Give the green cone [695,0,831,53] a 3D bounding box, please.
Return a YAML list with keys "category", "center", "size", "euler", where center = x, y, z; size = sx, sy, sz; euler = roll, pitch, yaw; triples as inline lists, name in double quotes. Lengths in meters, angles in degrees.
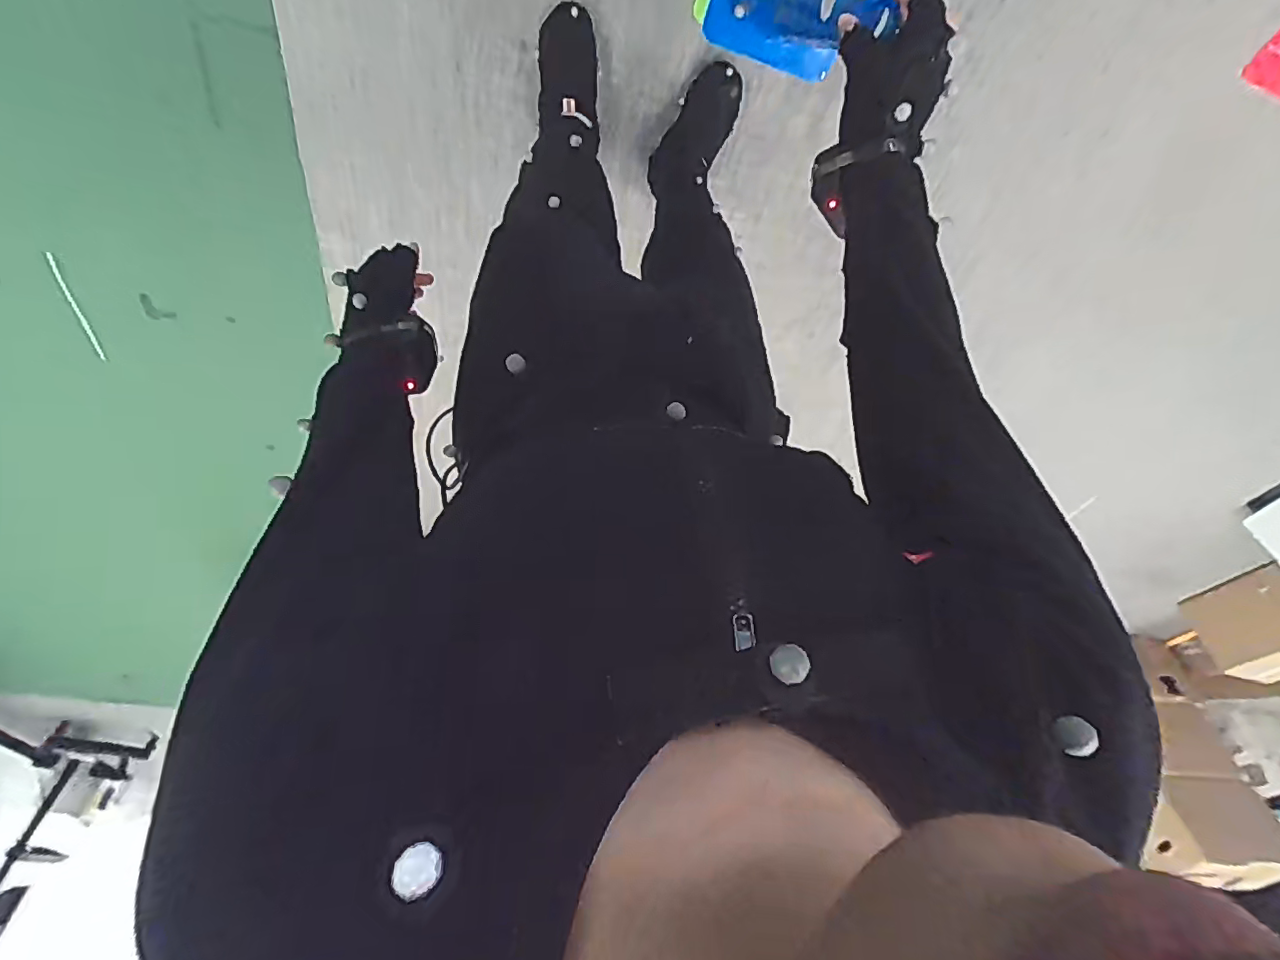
- category: "green cone"
  center: [0.211, -0.727, 0.785]
  size: [0.202, 0.368, 0.200]
  euler: [10, 138, -11]
